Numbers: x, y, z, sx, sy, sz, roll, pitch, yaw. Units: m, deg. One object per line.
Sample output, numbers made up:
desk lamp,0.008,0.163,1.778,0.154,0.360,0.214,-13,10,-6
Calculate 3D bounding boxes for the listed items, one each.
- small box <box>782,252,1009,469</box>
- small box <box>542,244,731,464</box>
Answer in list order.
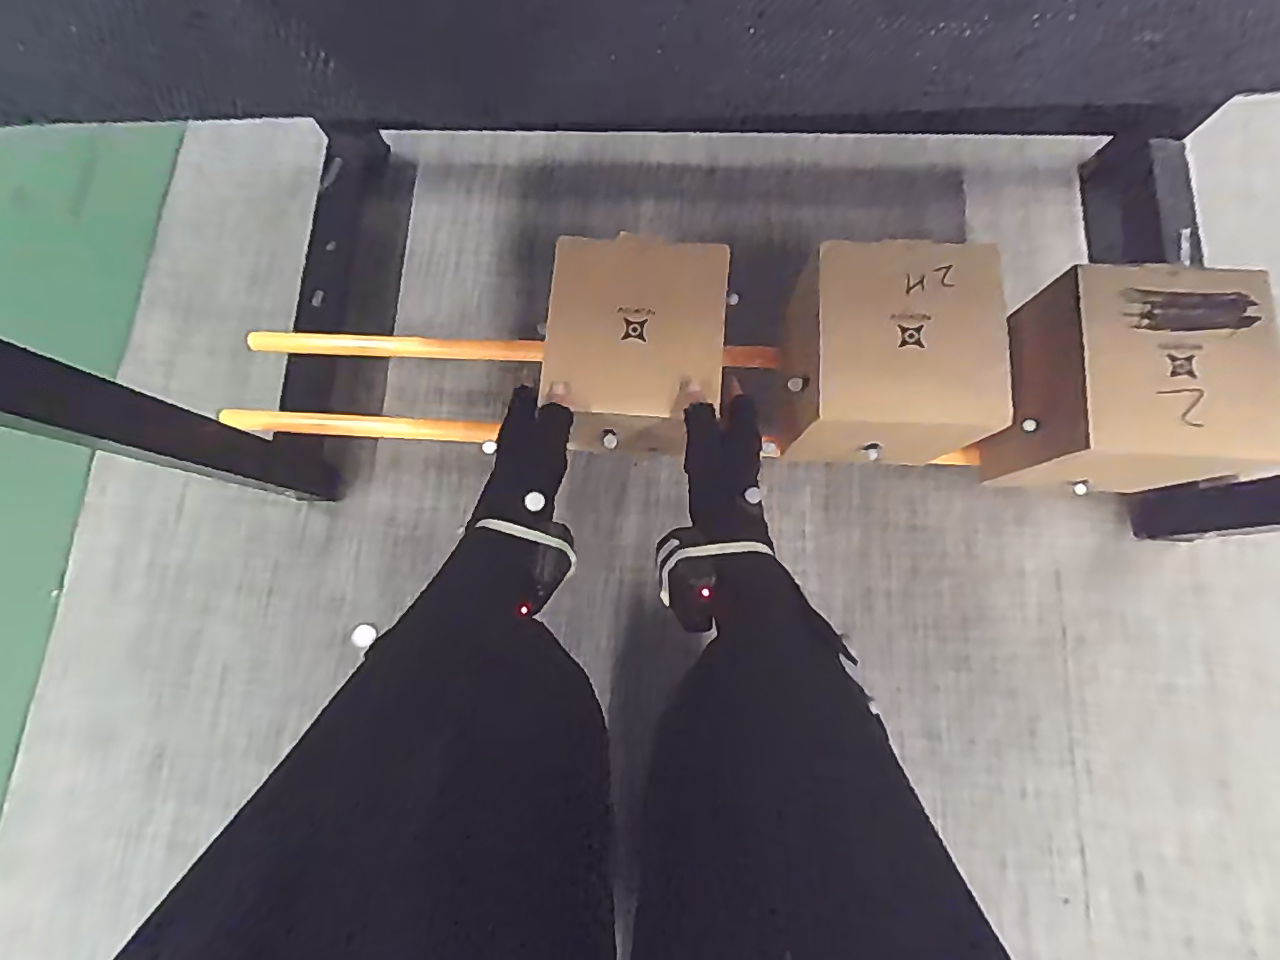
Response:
small box,0.248,-0.111,0.565,0.168,0.176,0.179,2,78,4
small box,0.002,-0.121,0.578,0.168,0.176,0.179,4,78,3
